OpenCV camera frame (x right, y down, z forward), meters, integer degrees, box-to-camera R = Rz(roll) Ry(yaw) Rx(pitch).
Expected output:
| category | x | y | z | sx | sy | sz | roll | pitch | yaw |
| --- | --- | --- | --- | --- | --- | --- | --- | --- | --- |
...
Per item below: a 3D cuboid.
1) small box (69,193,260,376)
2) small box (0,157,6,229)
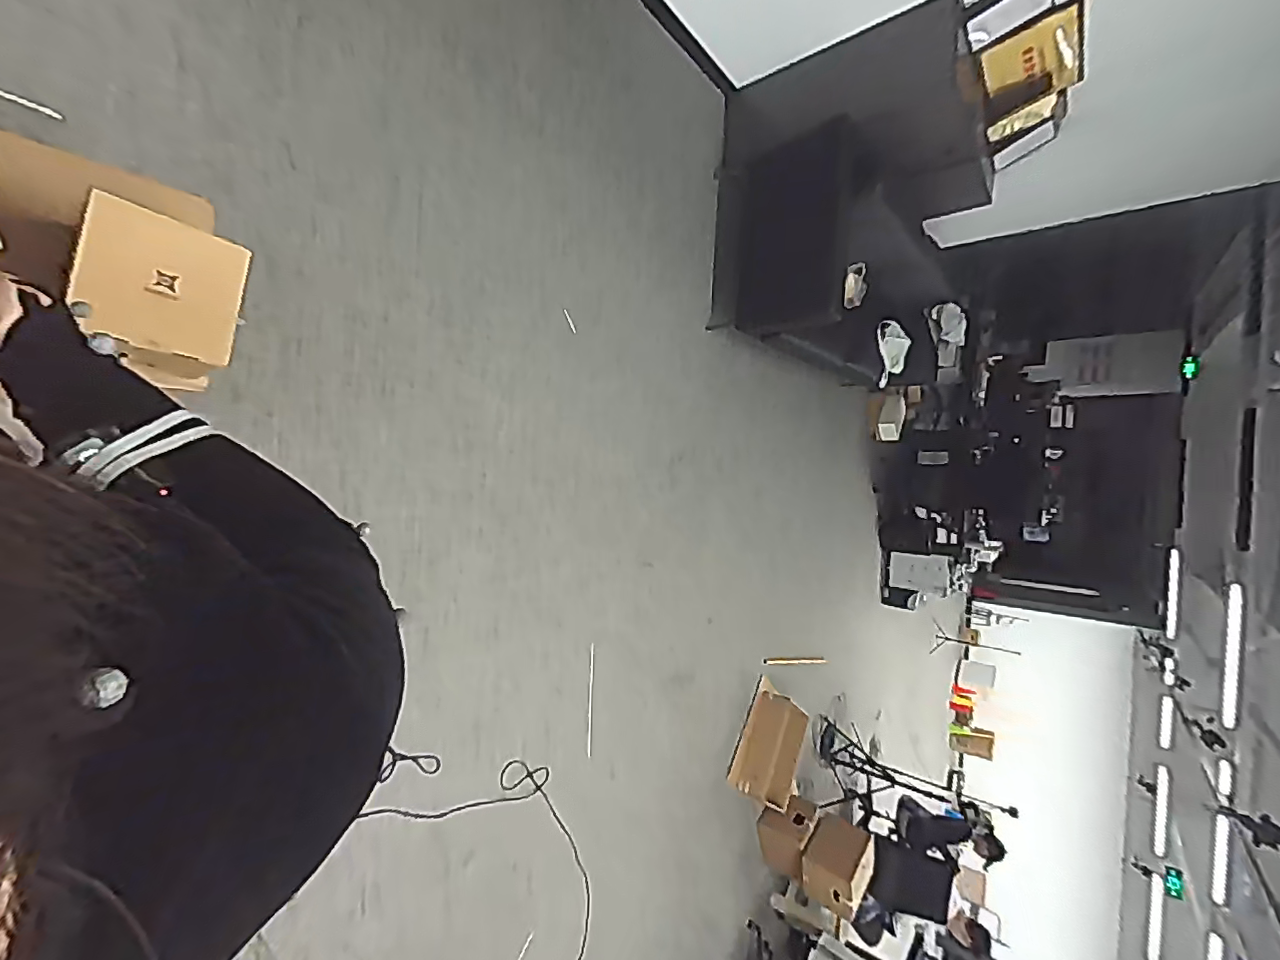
| category | x | y | z | sx | sy | sz | roll | pitch | yaw |
| --- | --- | --- | --- | --- | --- | --- | --- | --- | --- |
| small box | -0.668 | -0.257 | 0.759 | 0.168 | 0.176 | 0.179 | 12 | 83 | -49 |
| small box | -0.816 | -0.279 | 0.578 | 0.168 | 0.176 | 0.179 | 4 | 90 | -53 |
